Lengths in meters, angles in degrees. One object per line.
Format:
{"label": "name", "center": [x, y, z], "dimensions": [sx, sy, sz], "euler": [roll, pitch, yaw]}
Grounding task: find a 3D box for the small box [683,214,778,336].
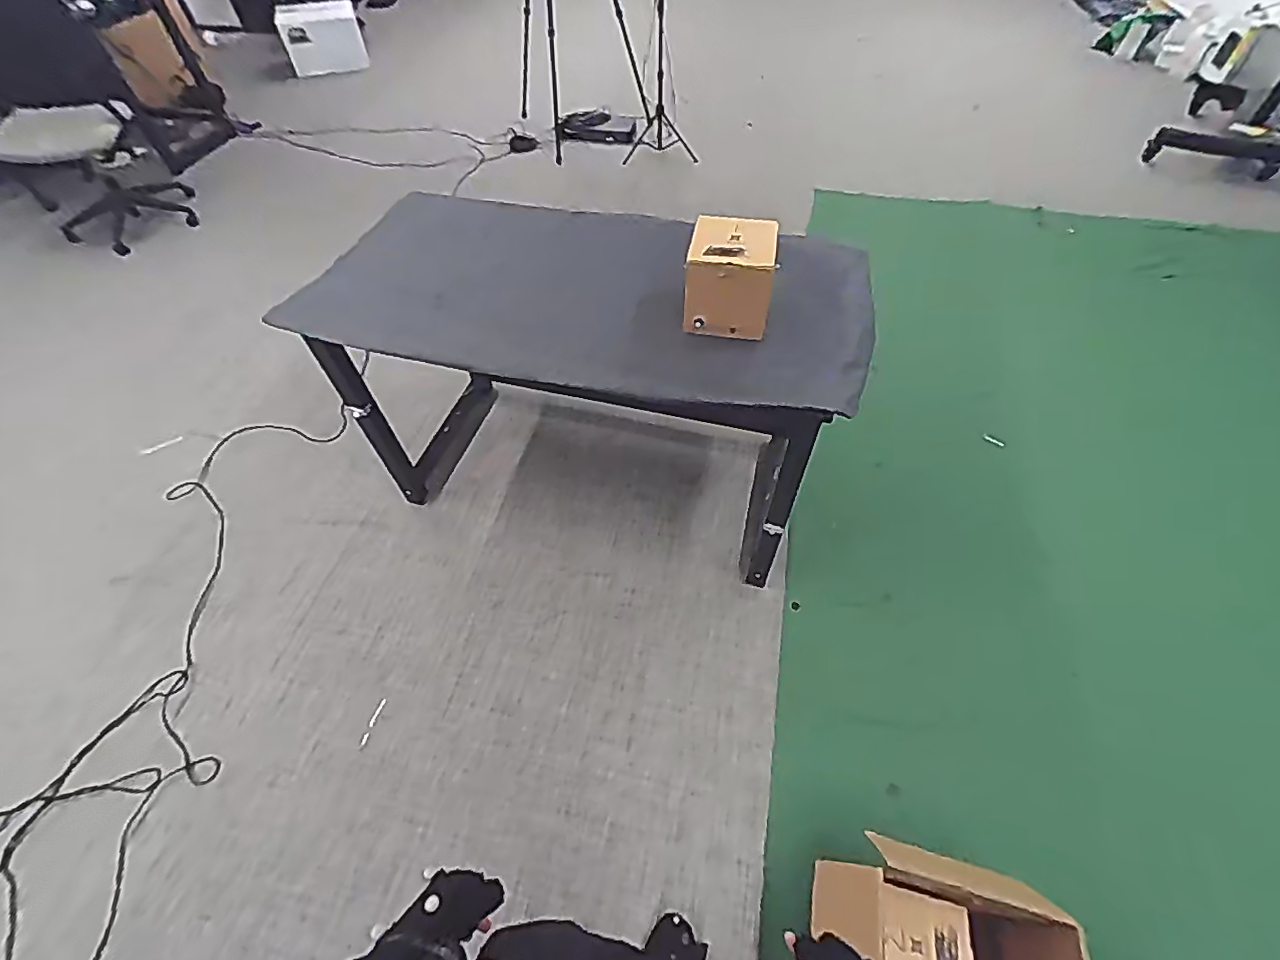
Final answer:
{"label": "small box", "center": [0.182, -0.418, 1.111], "dimensions": [0.168, 0.176, 0.179], "euler": [9, 53, 8]}
